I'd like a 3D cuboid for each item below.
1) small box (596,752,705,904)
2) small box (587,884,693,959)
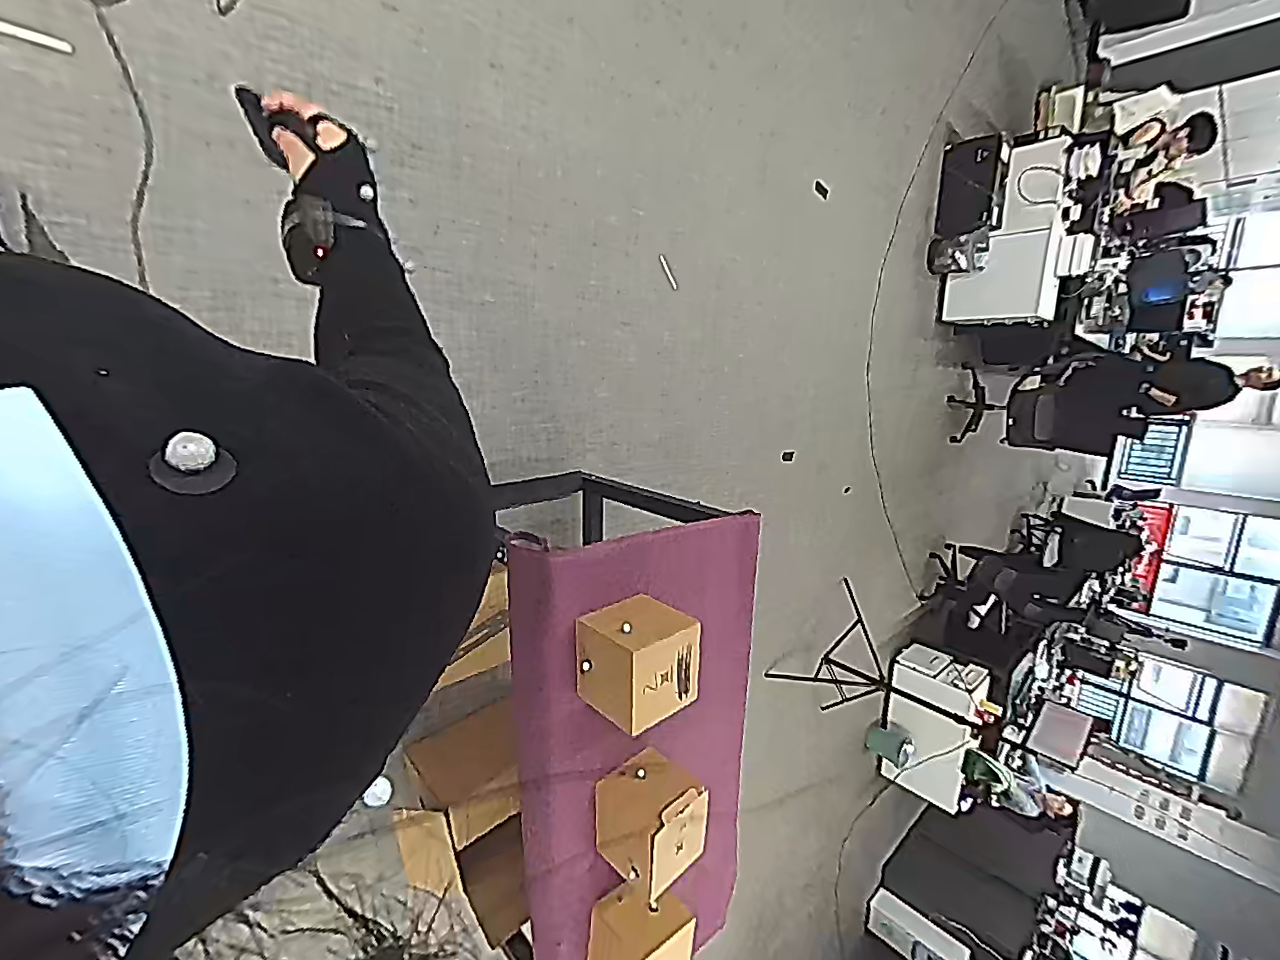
[{"bbox_3d":[0.018,0.727,1.151,0.168,0.176,0.179,-12,108,-44],"label":"small box"},{"bbox_3d":[-0.003,1.040,1.206,0.168,0.176,0.179,-2,101,-43],"label":"small box"}]
